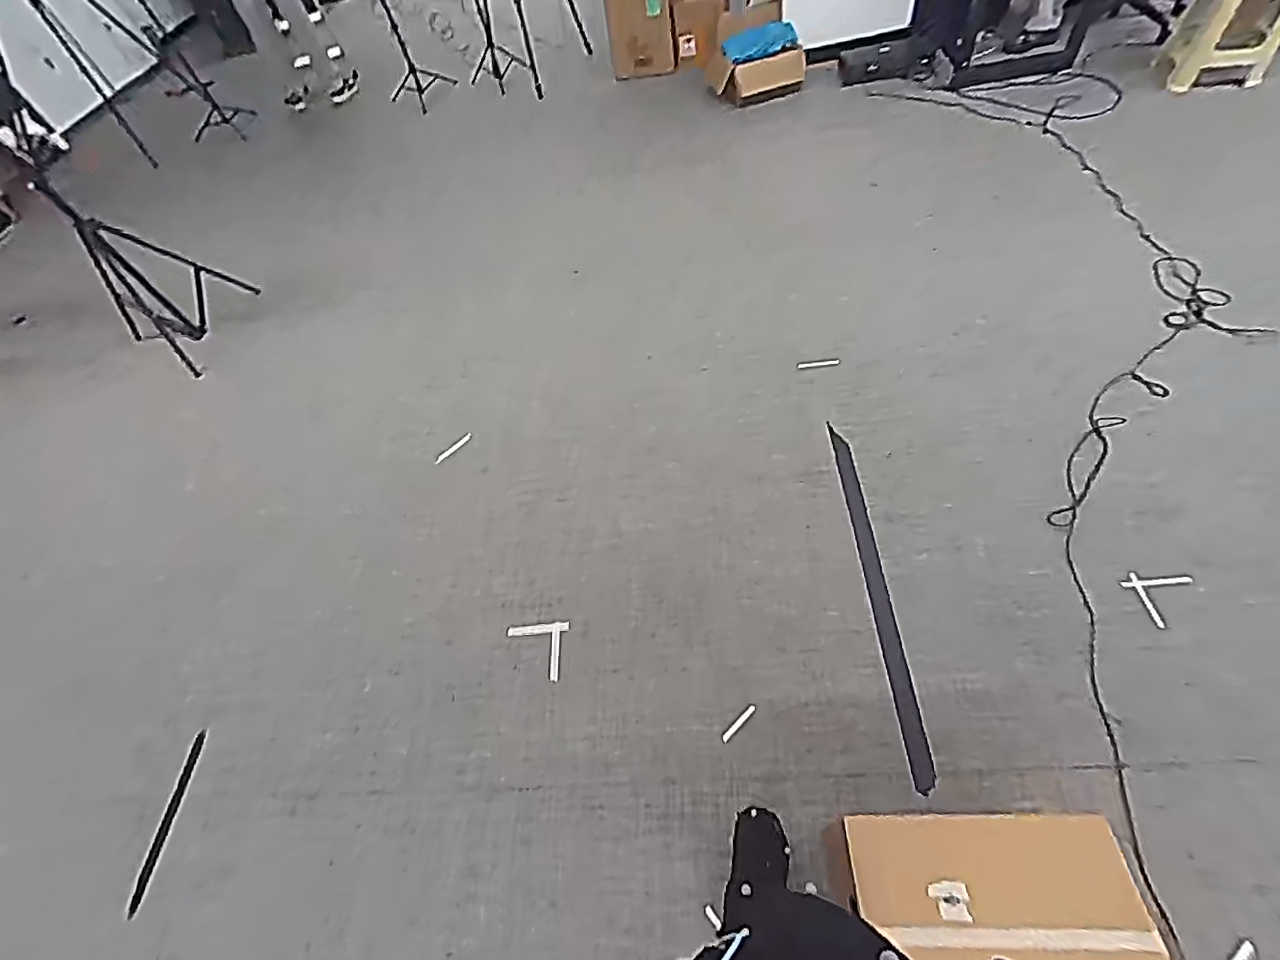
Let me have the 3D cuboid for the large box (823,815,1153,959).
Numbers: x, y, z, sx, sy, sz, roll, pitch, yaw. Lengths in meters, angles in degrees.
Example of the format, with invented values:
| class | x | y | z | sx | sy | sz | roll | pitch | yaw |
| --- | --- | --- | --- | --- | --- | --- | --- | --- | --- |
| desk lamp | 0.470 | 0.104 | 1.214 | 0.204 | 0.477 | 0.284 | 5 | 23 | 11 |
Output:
| class | x | y | z | sx | sy | sz | roll | pitch | yaw |
| --- | --- | --- | --- | --- | --- | --- | --- | --- | --- |
| large box | 0.553 | 0.763 | 0.912 | 0.408 | 0.320 | 0.320 | -6 | 53 | 9 |
